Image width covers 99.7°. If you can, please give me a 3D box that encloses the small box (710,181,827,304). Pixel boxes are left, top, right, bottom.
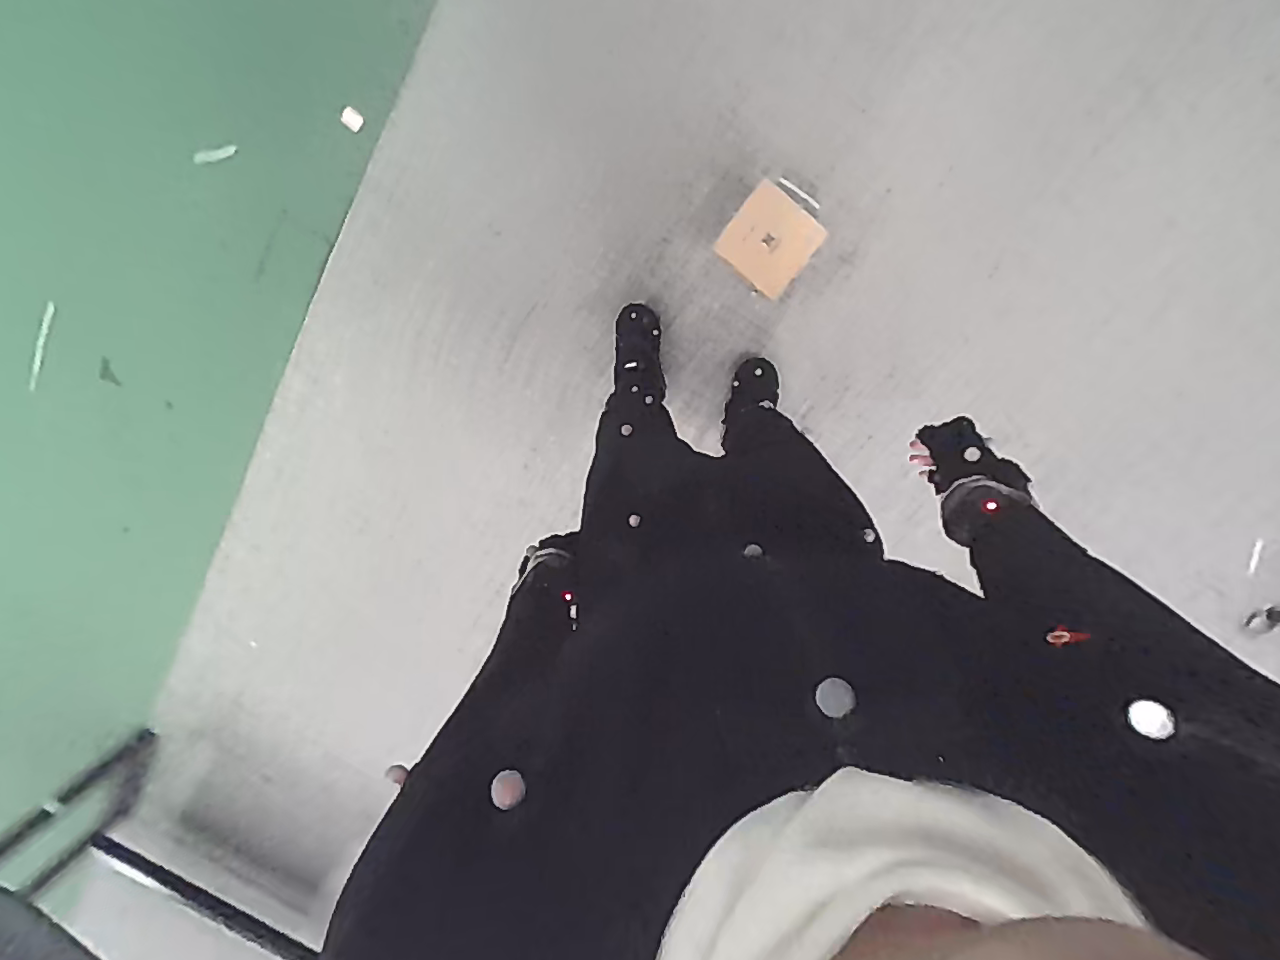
[{"bbox_3d":[0.271,-0.503,1.168,0.179,0.176,0.168,38,108,-5],"label":"small box"}]
